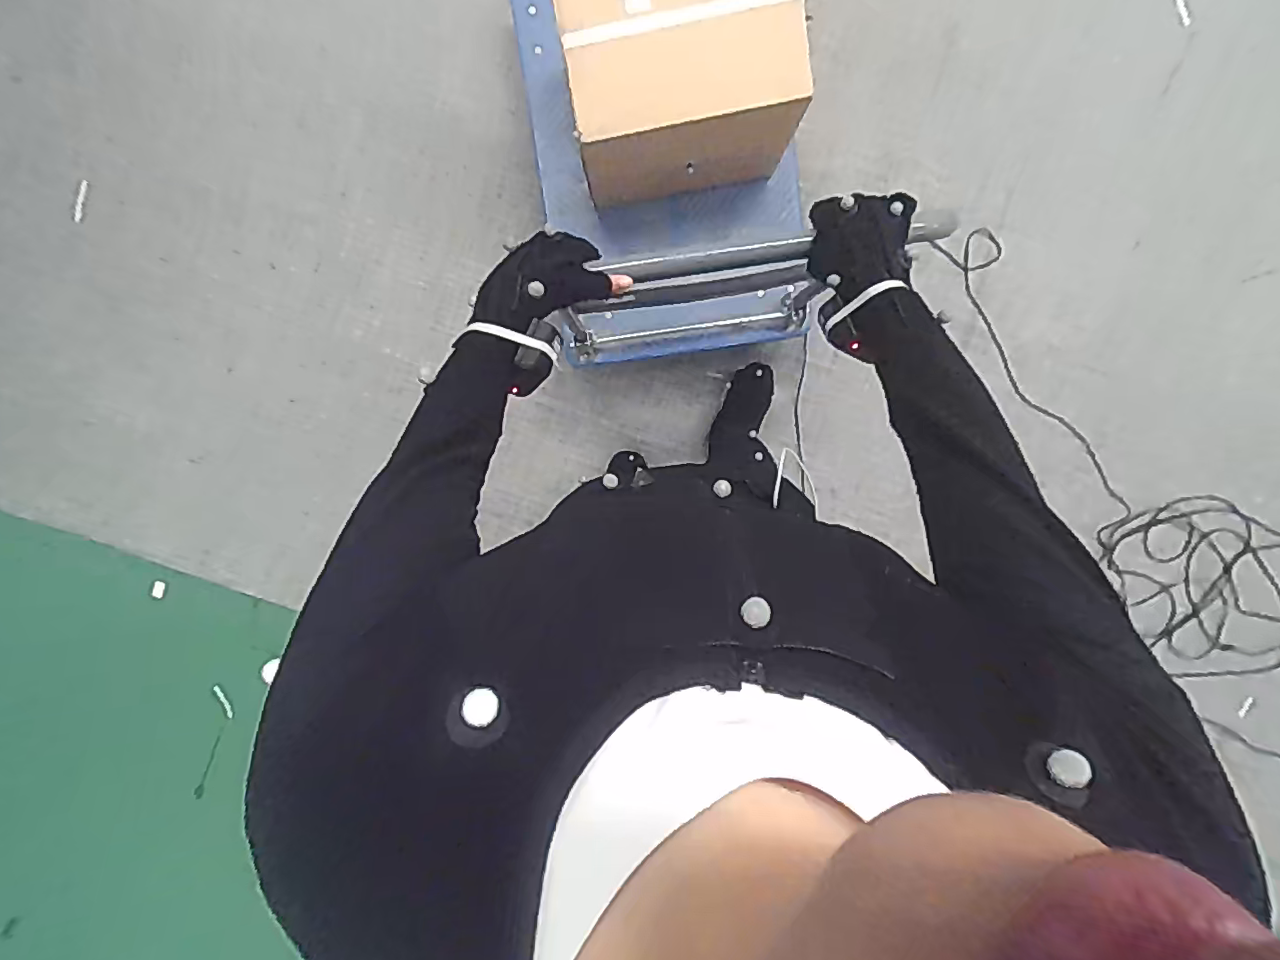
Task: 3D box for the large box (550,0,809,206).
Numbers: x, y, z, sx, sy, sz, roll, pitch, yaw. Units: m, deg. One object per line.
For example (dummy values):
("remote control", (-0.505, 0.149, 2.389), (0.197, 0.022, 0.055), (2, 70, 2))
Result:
("large box", (0.065, -0.779, 1.045), (0.408, 0.320, 0.320), (-11, 97, 2))
